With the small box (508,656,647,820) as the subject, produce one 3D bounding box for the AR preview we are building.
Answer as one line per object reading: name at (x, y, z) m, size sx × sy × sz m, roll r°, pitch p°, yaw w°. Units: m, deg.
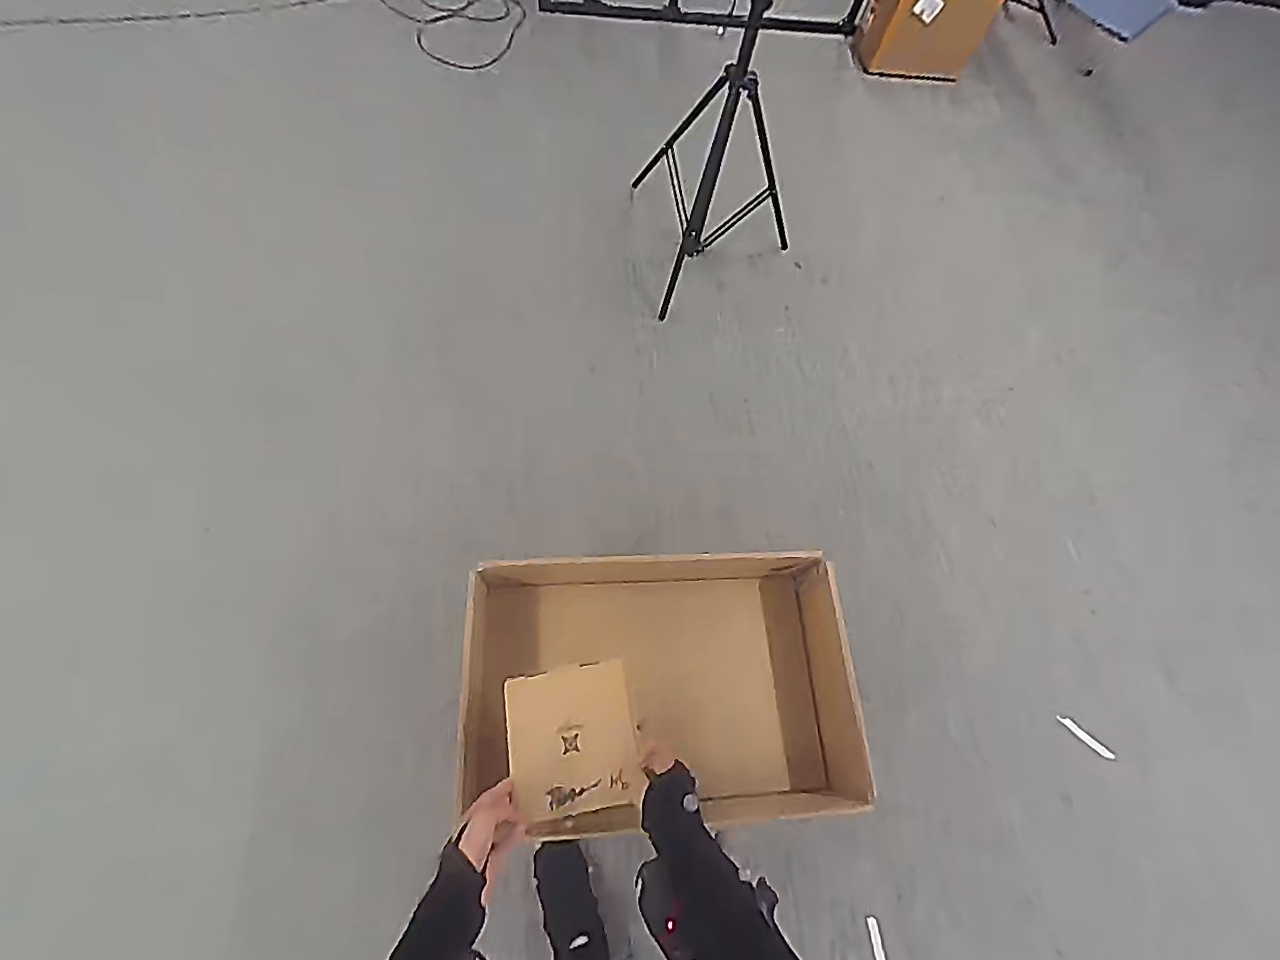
small box at (-0.086, 0.371, 0.780) m, size 0.168 × 0.176 × 0.179 m, roll -11°, pitch 62°, yaw -2°
